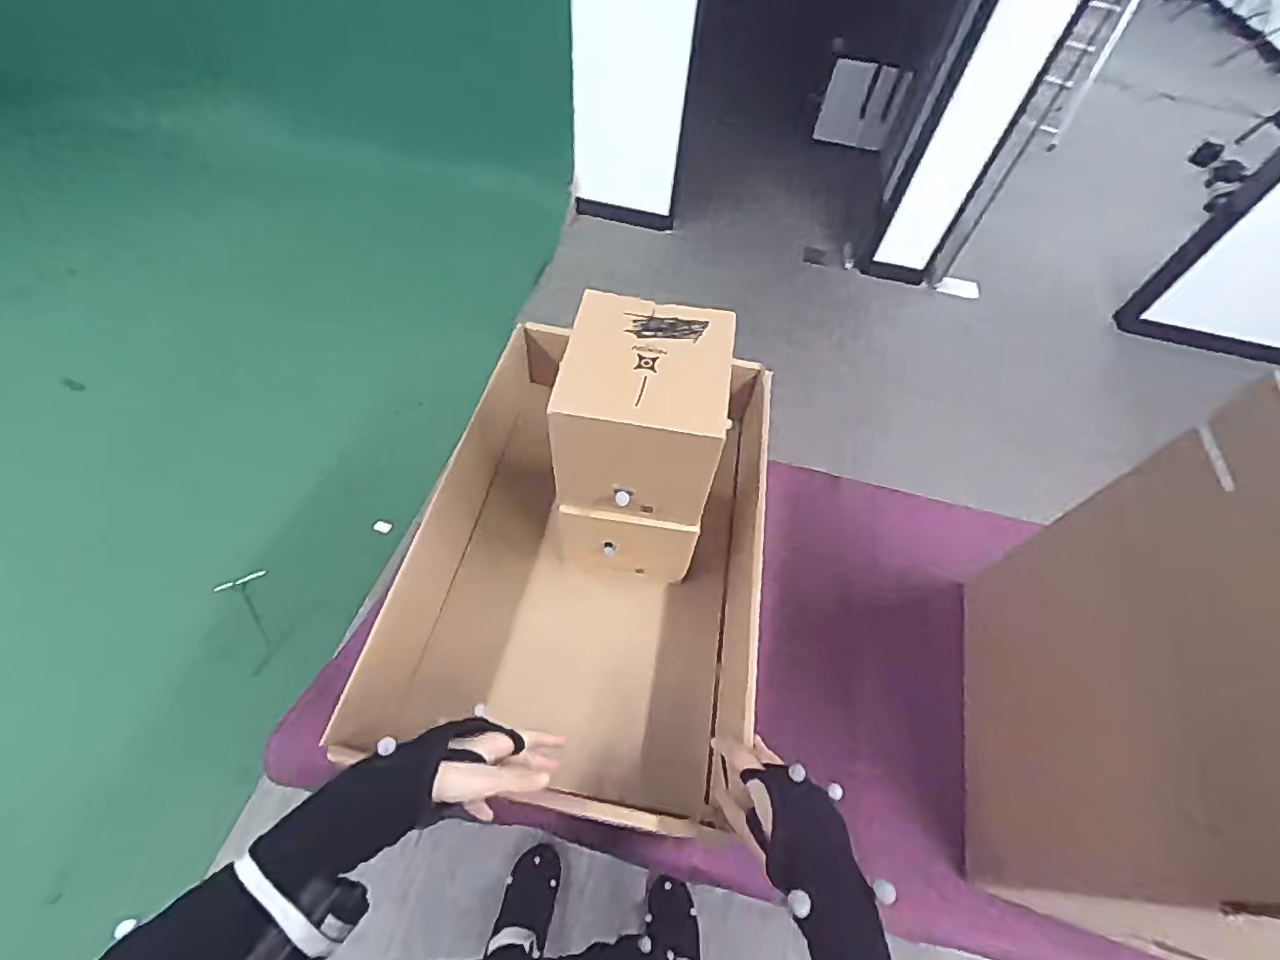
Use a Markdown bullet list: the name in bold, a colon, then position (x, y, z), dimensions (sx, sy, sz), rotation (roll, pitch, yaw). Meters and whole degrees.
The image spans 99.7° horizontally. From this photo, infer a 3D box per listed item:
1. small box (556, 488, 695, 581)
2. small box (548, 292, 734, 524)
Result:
- **small box**: position (-0.009, 0.021, 0.735), dimensions (0.168, 0.176, 0.179), rotation (8, 56, 1)
- **small box**: position (0.002, -0.075, 0.601), dimensions (0.168, 0.176, 0.179), rotation (9, 58, 2)
